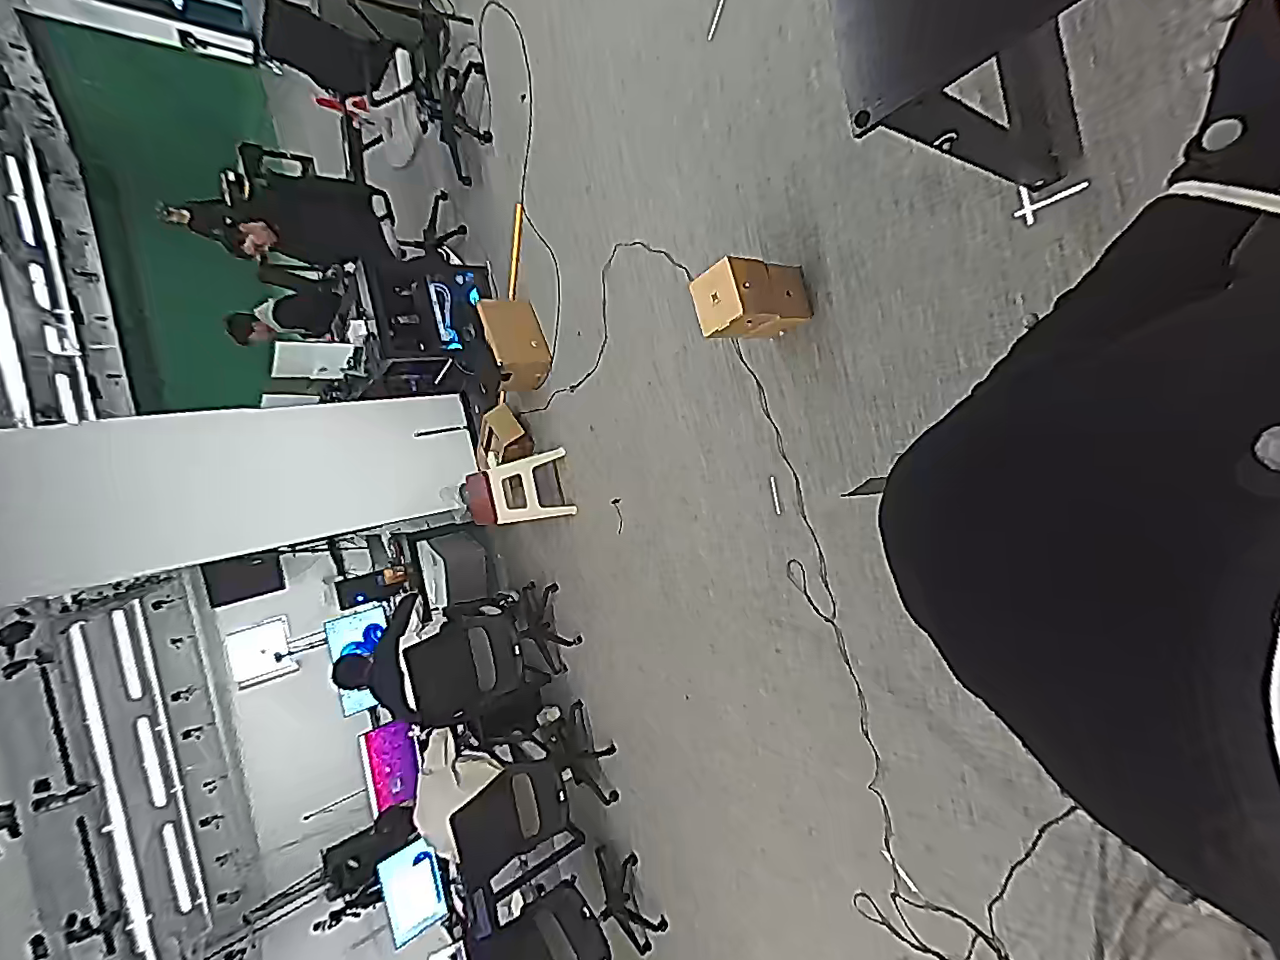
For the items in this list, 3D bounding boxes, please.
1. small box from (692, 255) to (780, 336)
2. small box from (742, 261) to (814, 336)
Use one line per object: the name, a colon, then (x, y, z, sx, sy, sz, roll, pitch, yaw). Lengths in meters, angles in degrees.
small box: (0.289, -0.543, 1.608, 0.168, 0.176, 0.179, -21, 82, 52)
small box: (0.418, -0.566, 1.704, 0.168, 0.176, 0.179, -16, 88, 53)
